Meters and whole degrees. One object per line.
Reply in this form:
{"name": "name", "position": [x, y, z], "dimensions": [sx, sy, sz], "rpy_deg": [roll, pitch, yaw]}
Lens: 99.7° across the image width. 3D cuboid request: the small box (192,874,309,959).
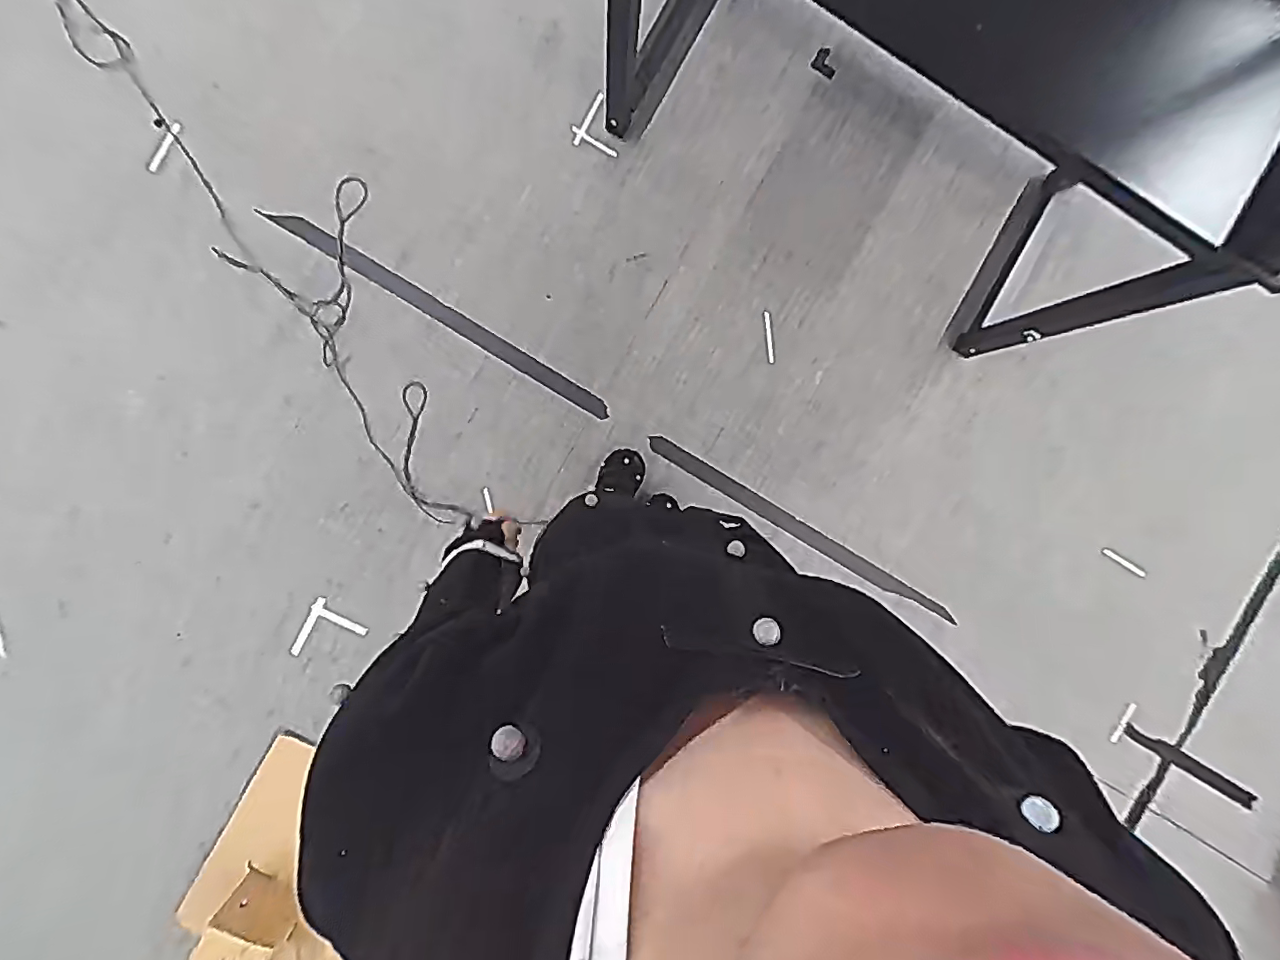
{"name": "small box", "position": [-1.014, 1.180, 1.408], "dimensions": [0.179, 0.176, 0.168], "rpy_deg": [24, 93, -6]}
